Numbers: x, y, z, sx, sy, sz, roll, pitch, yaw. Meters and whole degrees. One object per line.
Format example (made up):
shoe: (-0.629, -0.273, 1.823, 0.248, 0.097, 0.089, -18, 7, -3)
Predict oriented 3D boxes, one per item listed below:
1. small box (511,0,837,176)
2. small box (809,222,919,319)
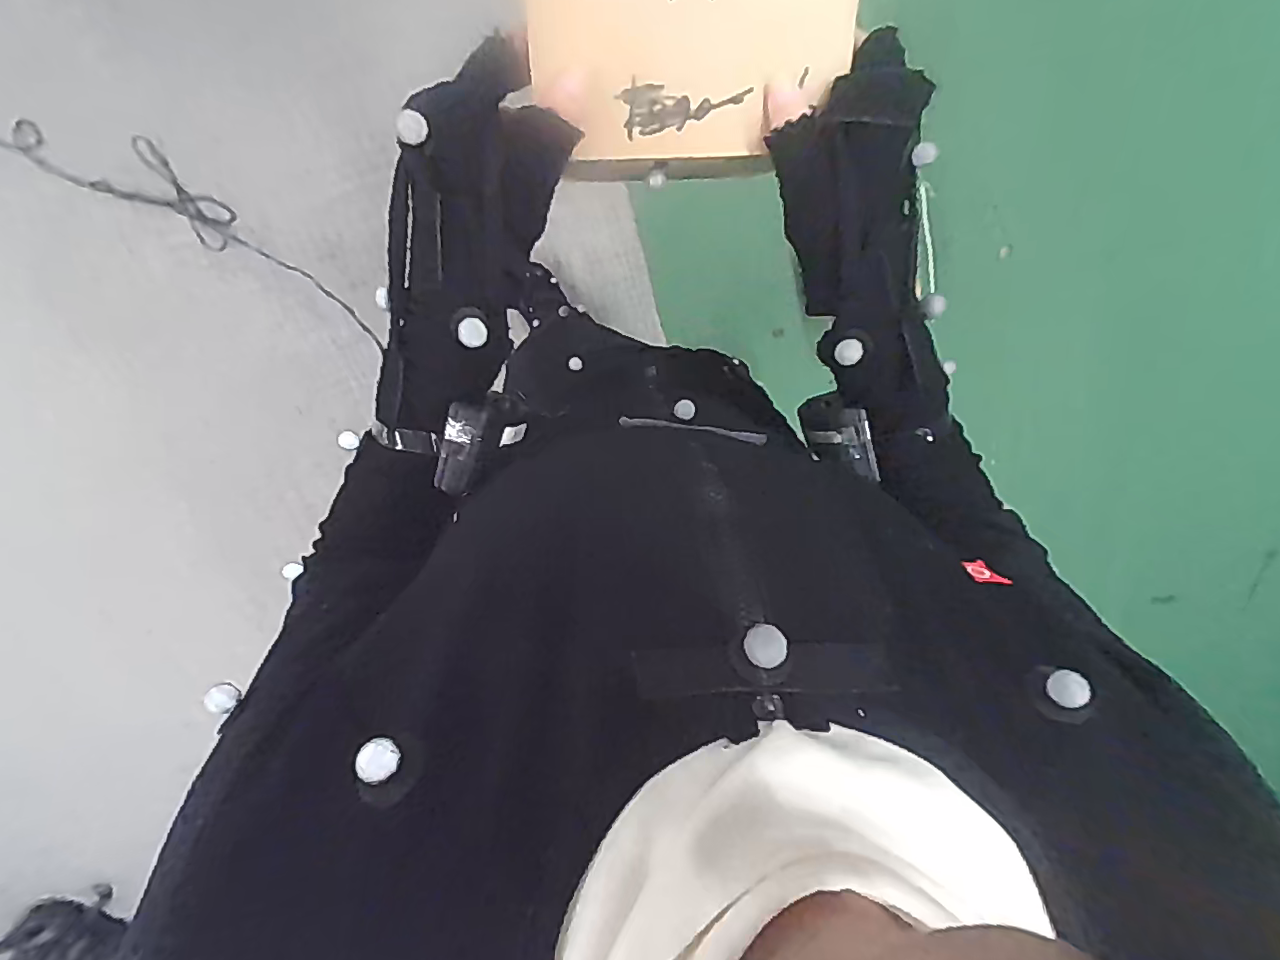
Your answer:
small box: (0.011, -0.292, 0.328, 0.168, 0.176, 0.179, -3, 116, -3)
small box: (0.505, -0.476, 1.231, 0.179, 0.176, 0.168, -14, 110, 4)
